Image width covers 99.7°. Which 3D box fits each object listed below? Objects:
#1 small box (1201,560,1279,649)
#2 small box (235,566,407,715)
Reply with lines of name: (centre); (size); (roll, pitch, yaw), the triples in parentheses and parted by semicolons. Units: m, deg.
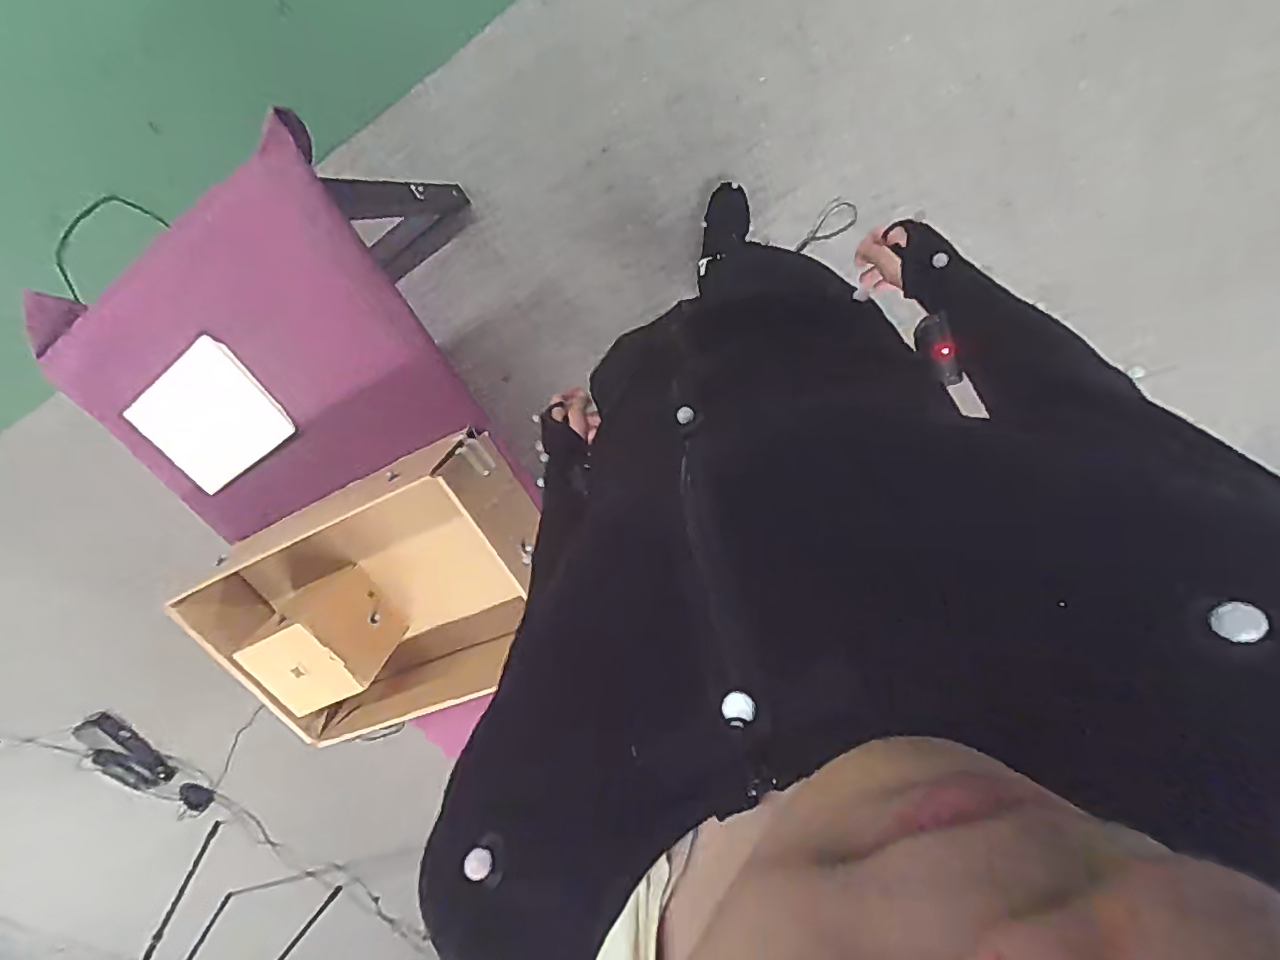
small box: (1.844, 0.363, 1.616); (0.168, 0.176, 0.179); (-28, 110, 20)
small box: (-0.573, 0.290, 0.996); (0.179, 0.176, 0.168); (-26, 110, 16)
